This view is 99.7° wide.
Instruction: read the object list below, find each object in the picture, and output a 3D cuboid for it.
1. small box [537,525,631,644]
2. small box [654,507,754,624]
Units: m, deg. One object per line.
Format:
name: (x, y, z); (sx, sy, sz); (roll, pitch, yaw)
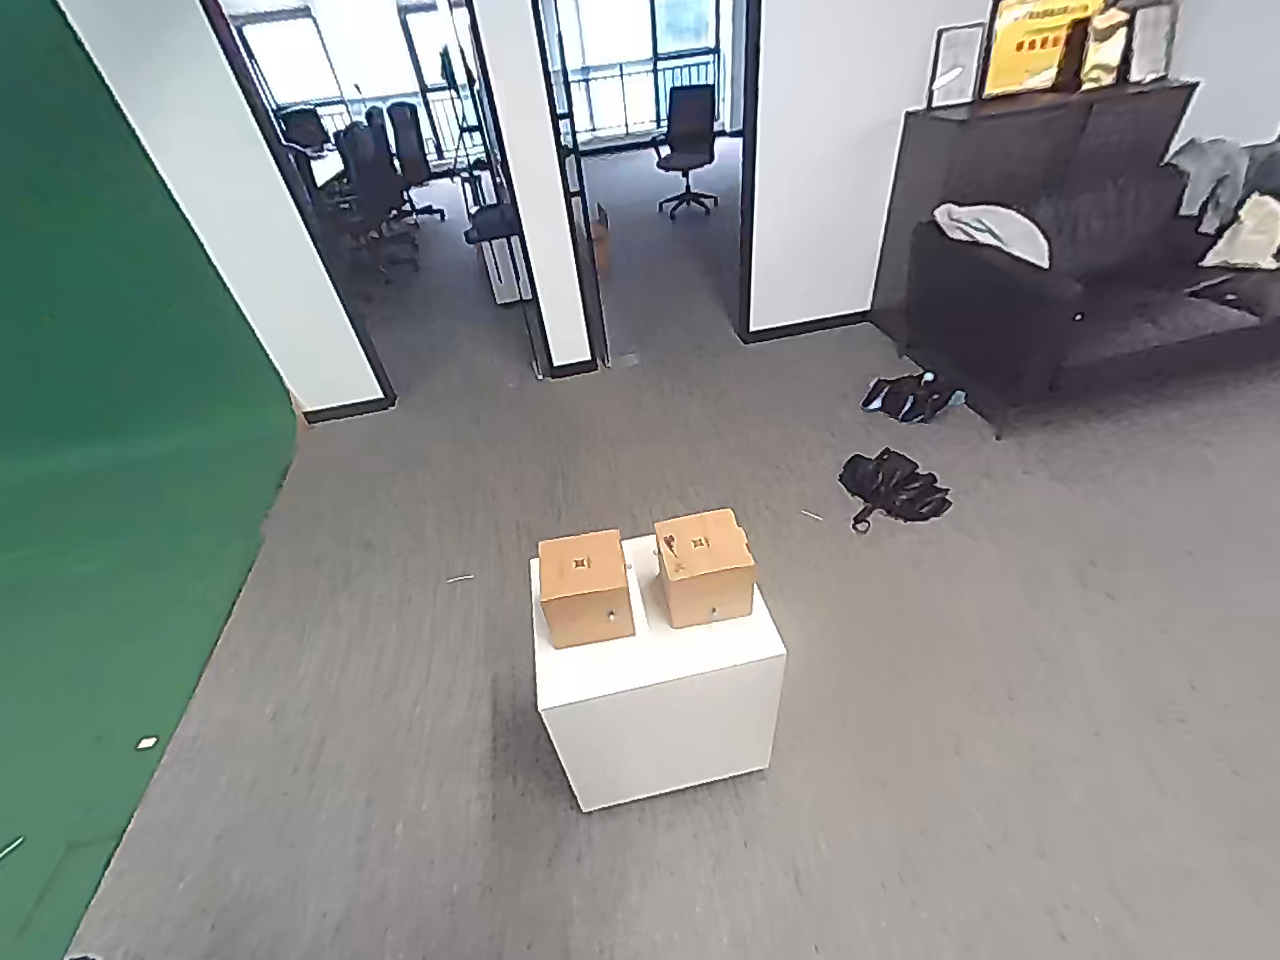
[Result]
small box: (-0.116, 0.221, 1.143); (0.179, 0.176, 0.168); (-10, 40, -5)
small box: (0.130, 0.184, 1.158); (0.179, 0.176, 0.168); (-9, 41, -5)
